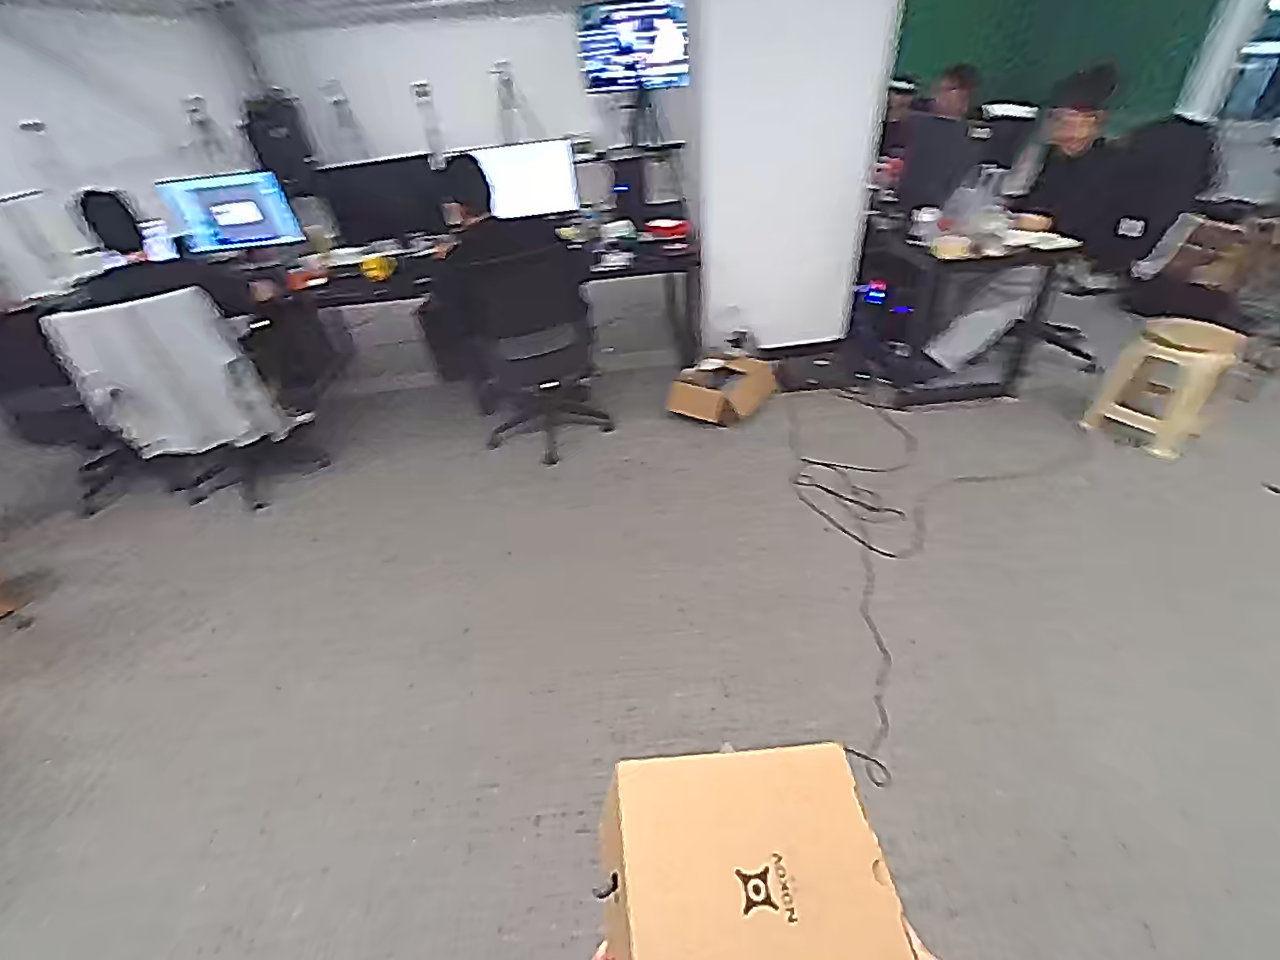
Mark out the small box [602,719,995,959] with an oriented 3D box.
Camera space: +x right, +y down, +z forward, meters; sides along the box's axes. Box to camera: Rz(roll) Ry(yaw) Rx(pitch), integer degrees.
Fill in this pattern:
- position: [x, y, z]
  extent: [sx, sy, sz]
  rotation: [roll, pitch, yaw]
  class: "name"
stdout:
- position: [0.093, 0.291, 0.363]
  extent: [0.168, 0.176, 0.179]
  rotation: [14, 23, -23]
  class: "small box"
